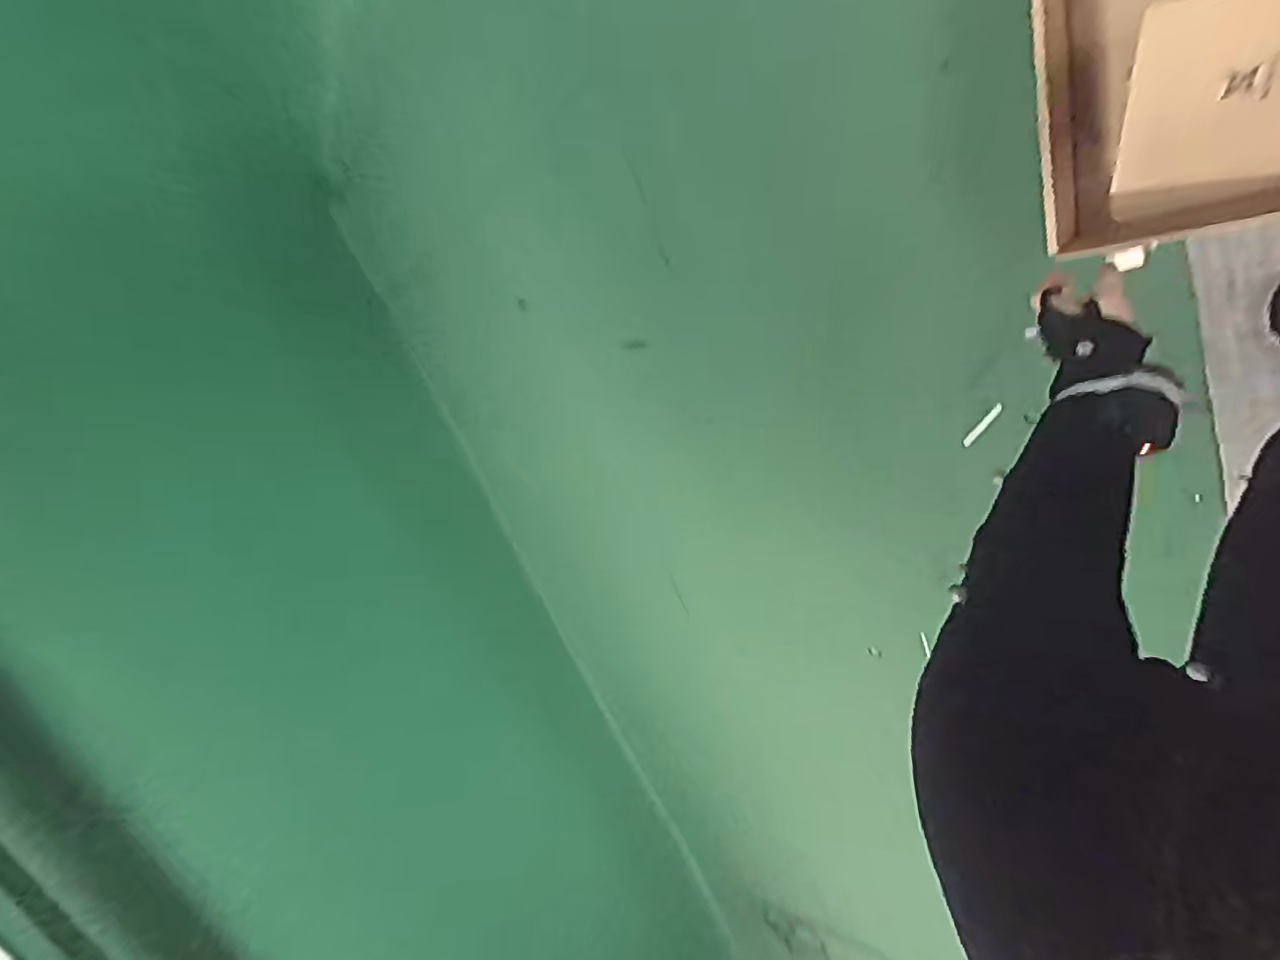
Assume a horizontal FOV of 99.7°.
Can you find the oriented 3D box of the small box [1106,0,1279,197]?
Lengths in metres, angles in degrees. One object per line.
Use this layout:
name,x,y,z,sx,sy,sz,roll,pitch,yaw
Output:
small box,0.622,-0.407,0.560,0.179,0.176,0.168,13,128,41
